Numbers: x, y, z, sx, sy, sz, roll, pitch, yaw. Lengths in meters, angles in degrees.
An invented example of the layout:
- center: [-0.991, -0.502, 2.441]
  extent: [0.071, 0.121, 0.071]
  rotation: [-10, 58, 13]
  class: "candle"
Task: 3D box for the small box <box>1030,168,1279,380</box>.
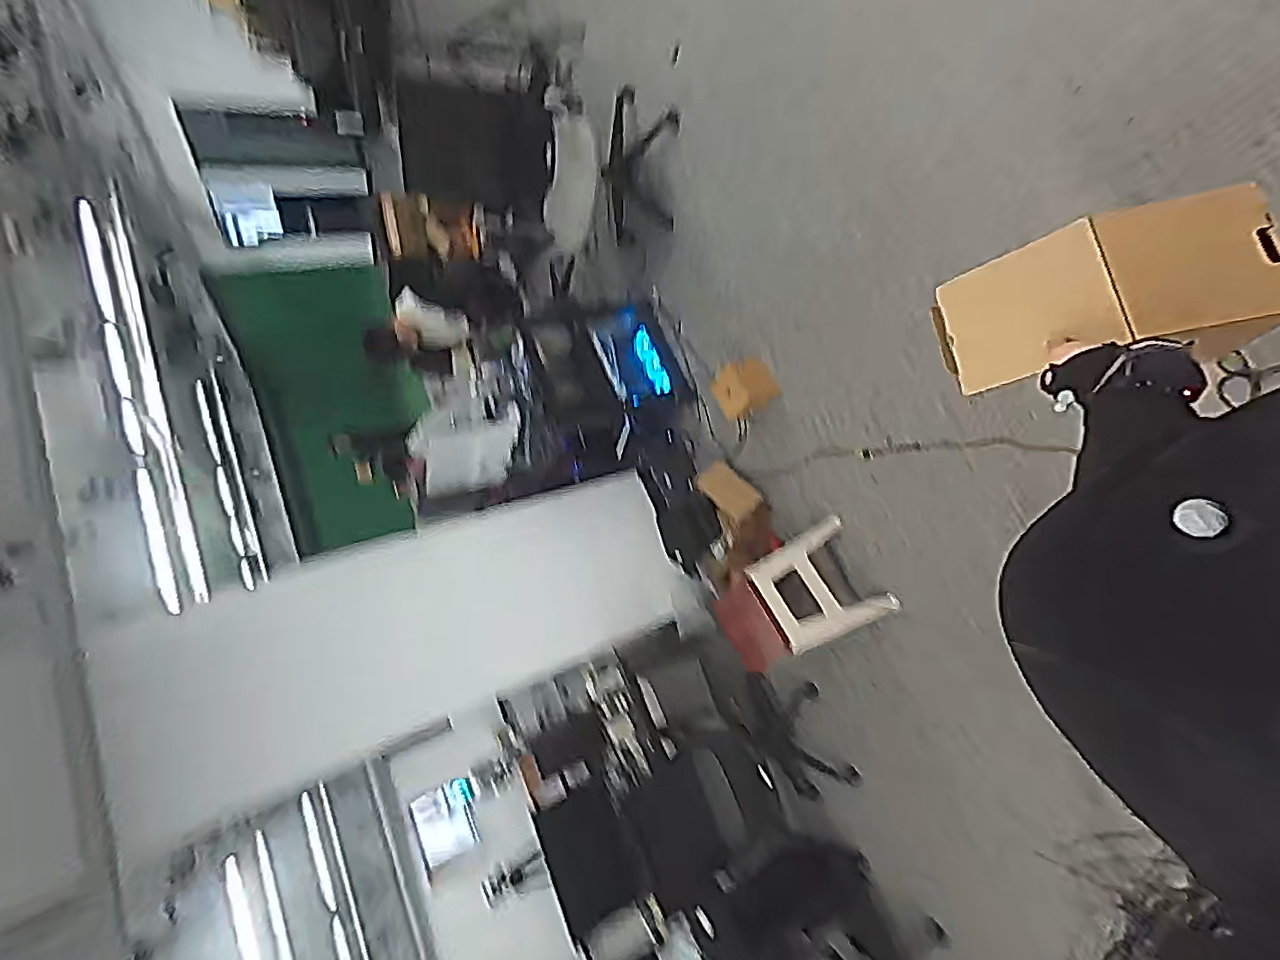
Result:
- center: [0.622, -0.237, 0.669]
  extent: [0.176, 0.179, 0.168]
  rotation: [41, -139, -76]
  class: "small box"
